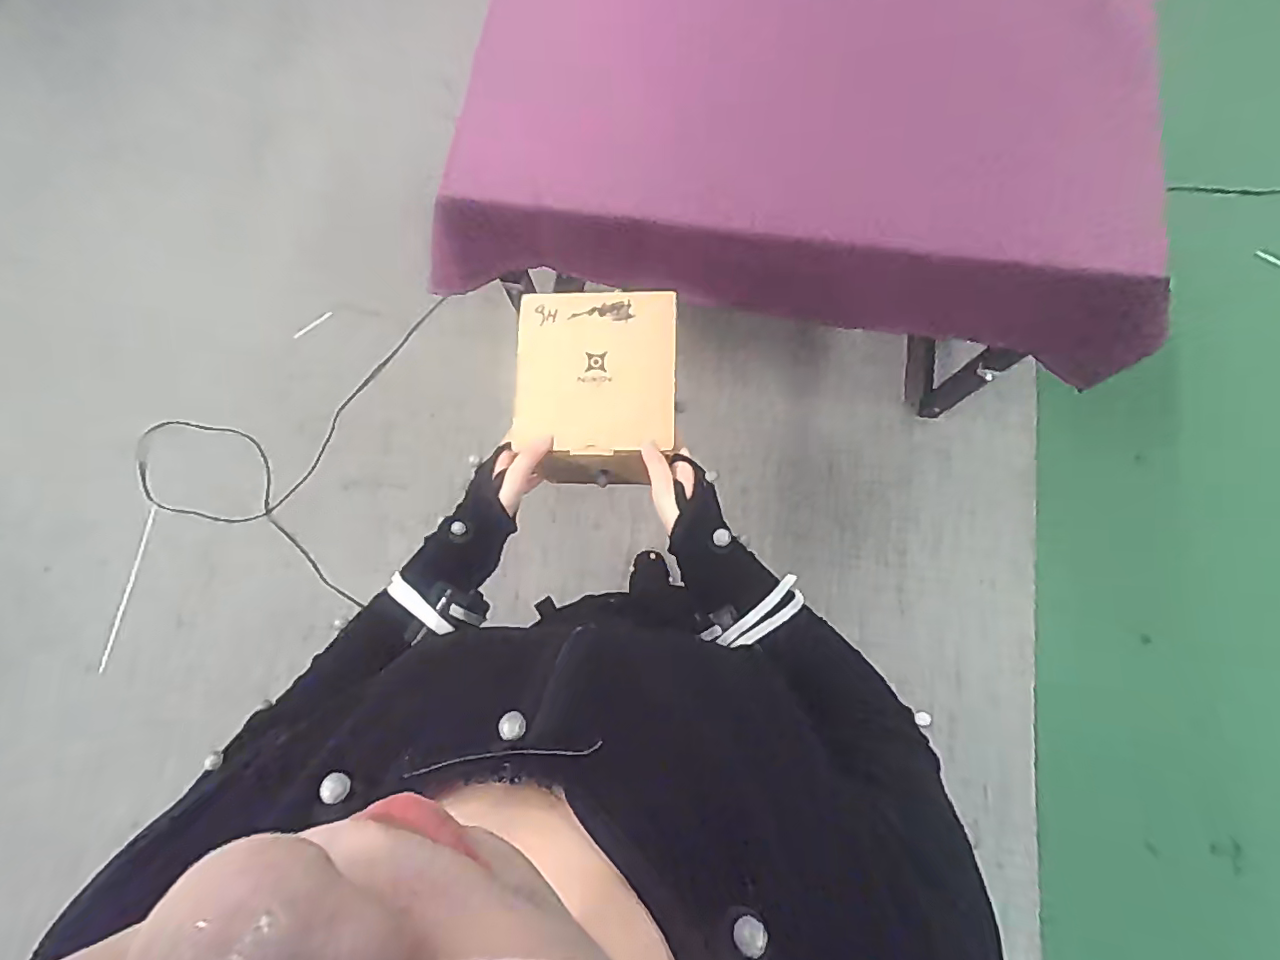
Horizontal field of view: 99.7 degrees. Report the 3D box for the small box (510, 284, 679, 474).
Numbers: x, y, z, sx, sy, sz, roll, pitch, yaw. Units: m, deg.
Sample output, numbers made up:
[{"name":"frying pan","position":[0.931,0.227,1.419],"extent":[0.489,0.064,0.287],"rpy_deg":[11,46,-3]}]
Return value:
[{"name":"small box","position":[-0.041,-0.105,0.629],"extent":[0.168,0.176,0.179],"rpy_deg":[1,80,5]}]
